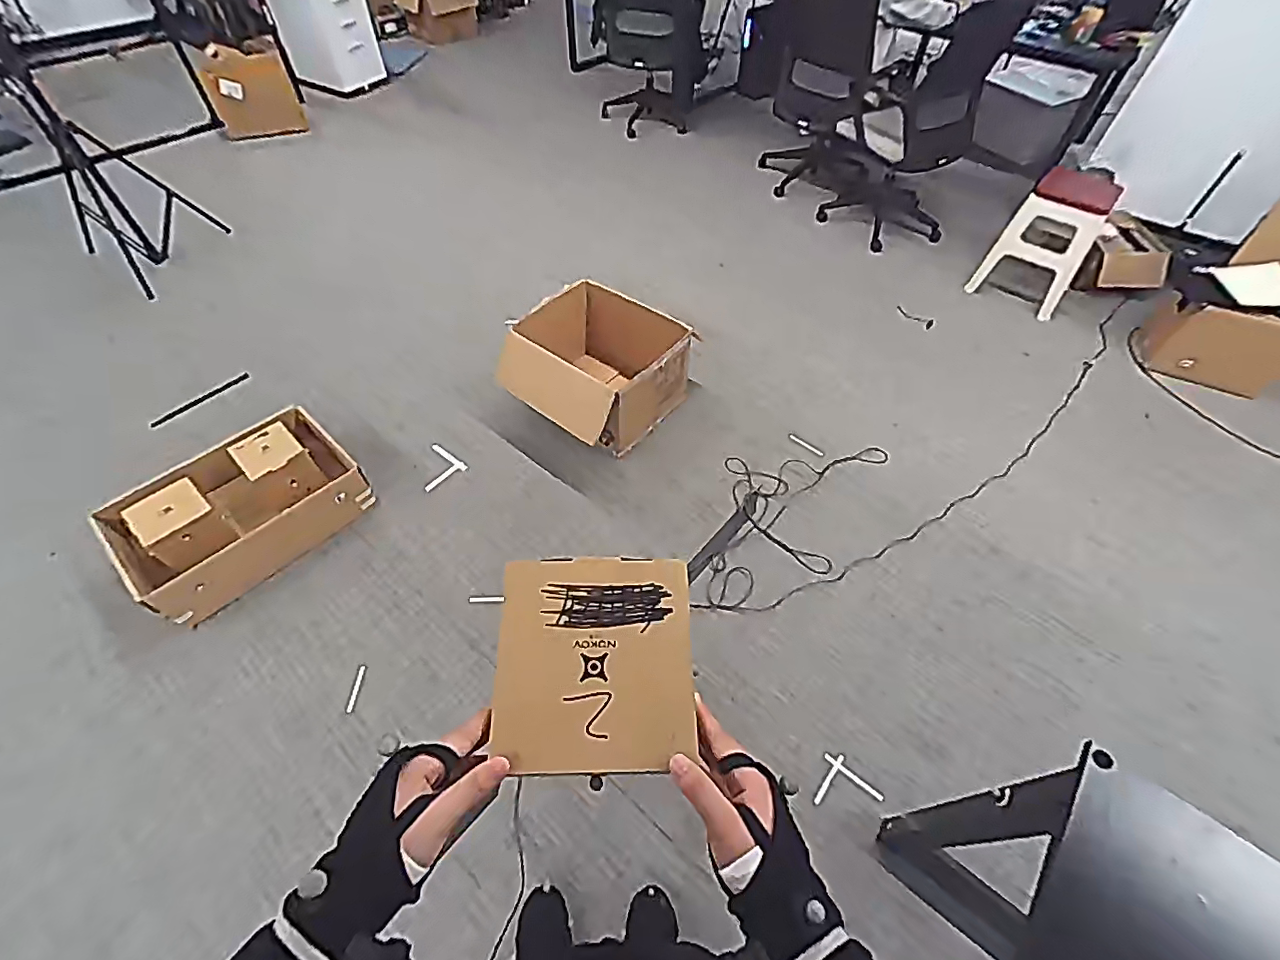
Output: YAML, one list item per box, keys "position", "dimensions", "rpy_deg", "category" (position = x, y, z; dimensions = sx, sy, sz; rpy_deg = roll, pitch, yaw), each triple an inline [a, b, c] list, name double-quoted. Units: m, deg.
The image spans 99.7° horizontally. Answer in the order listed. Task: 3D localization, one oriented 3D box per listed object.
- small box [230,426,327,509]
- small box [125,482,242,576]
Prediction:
- position: [-1.137, -0.031, 1.713]
  dimensions: [0.179, 0.176, 0.168]
  rpy_deg: [39, 62, 23]
  category: "small box"
- position: [-1.320, 0.145, 1.574]
  dimensions: [0.168, 0.176, 0.179]
  rpy_deg: [37, 58, 21]
  category: "small box"
